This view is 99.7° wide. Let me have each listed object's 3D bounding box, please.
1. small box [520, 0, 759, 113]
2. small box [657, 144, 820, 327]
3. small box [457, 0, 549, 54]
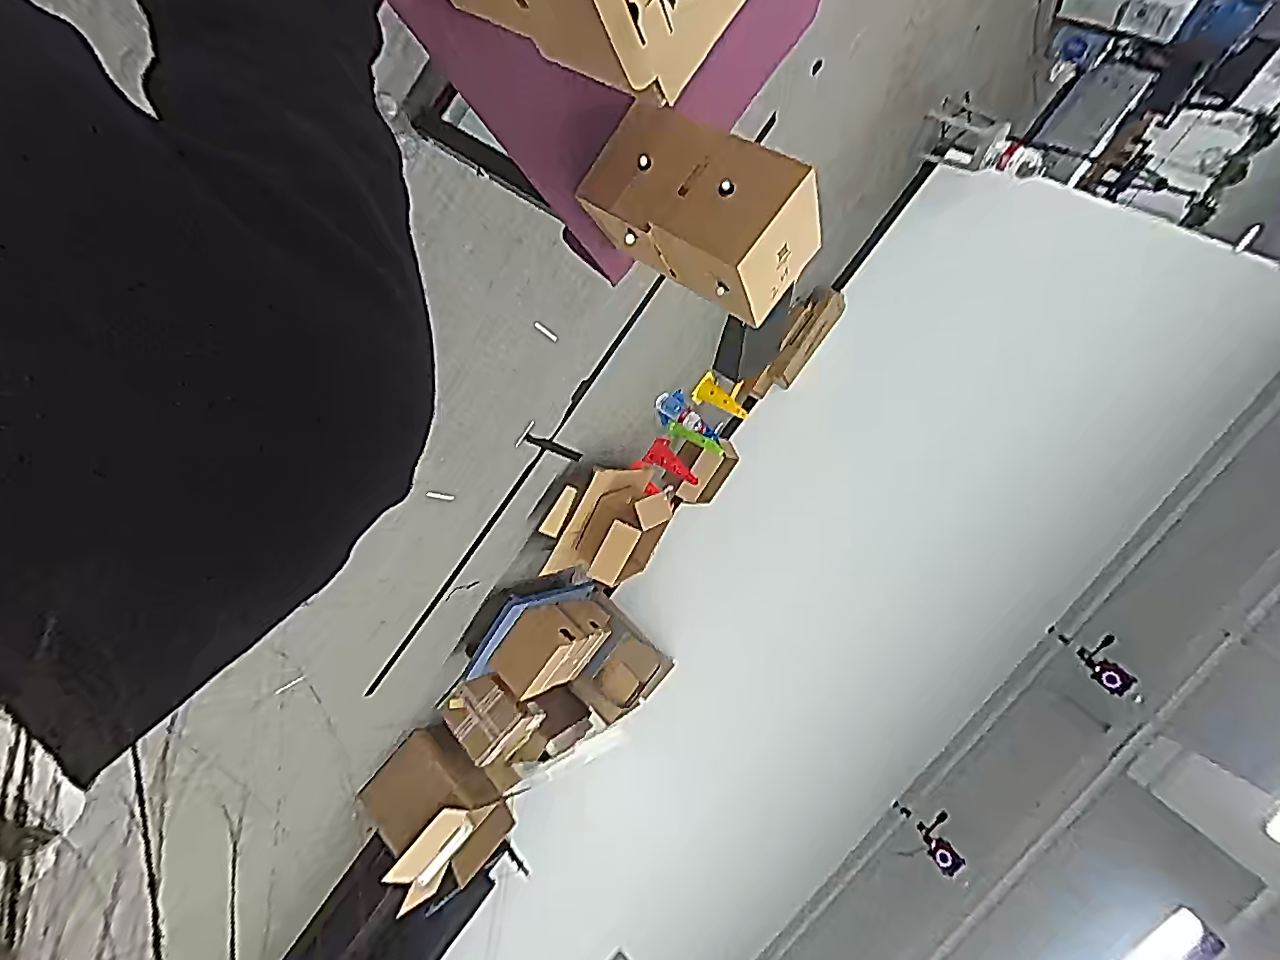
[{"bbox_3d":[-0.009,-0.445,0.421,0.179,0.176,0.168,-53,157,4],"label":"small box"},{"bbox_3d":[0.151,-0.372,0.822,0.168,0.176,0.179,-52,157,3],"label":"small box"},{"bbox_3d":[-0.124,-0.547,0.482,0.168,0.176,0.179,-52,158,5],"label":"small box"}]
